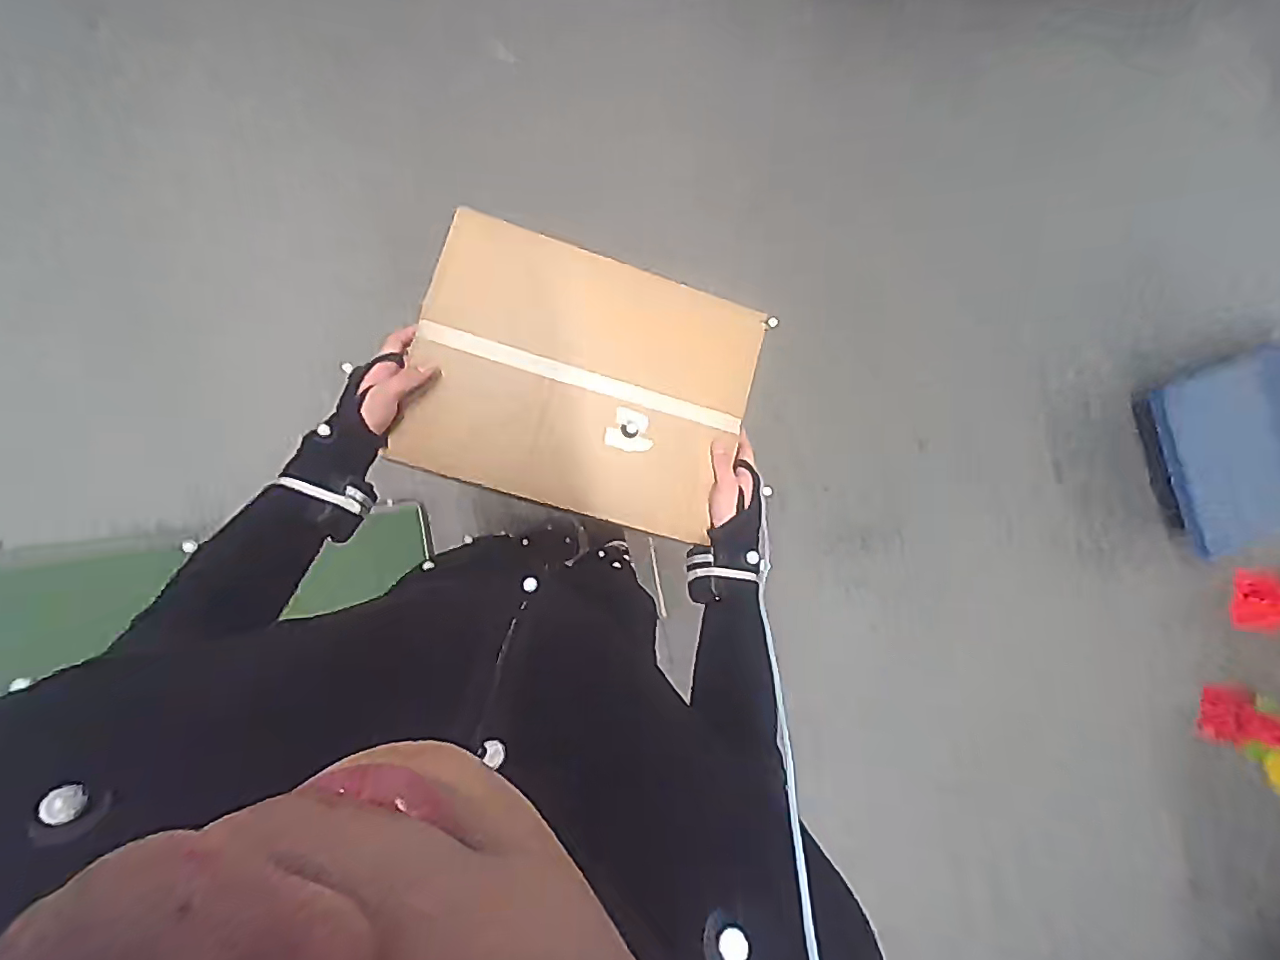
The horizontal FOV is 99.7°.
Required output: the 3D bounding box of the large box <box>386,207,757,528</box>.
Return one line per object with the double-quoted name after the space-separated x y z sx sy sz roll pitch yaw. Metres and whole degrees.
-0.098 -0.124 0.808 0.408 0.320 0.320 16 84 -10 "large box"
